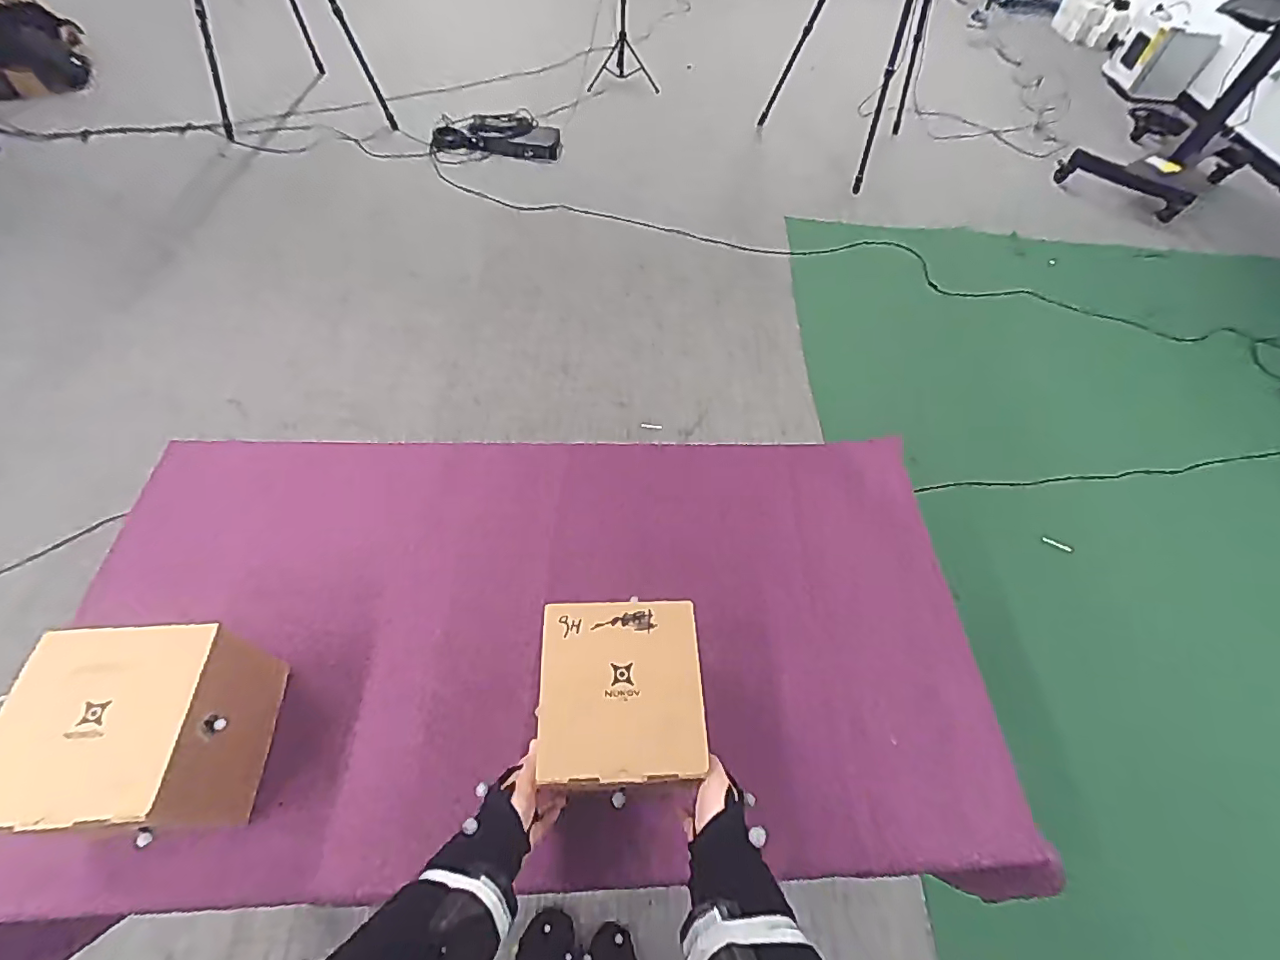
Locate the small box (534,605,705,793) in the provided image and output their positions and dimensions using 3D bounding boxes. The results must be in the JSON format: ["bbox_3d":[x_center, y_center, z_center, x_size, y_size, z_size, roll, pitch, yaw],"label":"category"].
[{"bbox_3d":[-0.024,0.255,0.618,0.168,0.176,0.179,0,57,-5],"label":"small box"}]

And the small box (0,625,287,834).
[{"bbox_3d":[-0.512,0.267,0.571,0.168,0.176,0.179,0,55,-6],"label":"small box"}]
